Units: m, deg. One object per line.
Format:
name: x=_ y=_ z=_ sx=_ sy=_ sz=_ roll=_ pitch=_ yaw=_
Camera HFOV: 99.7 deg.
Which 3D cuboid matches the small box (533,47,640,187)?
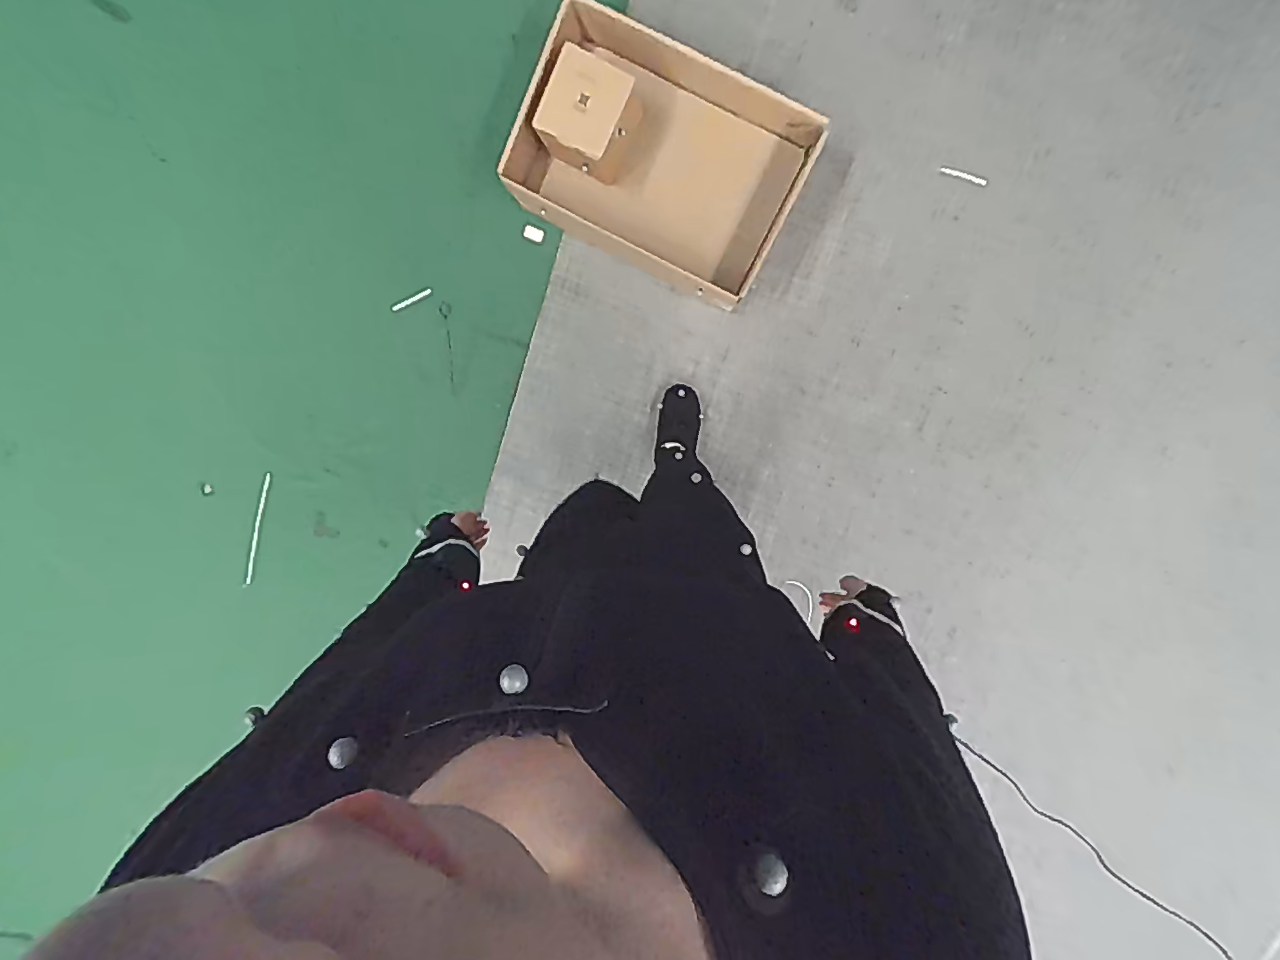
small box: x=-0.109 y=-0.791 z=1.203 sx=0.168 sy=0.176 sz=0.179 roll=28 pitch=102 yaw=-1
